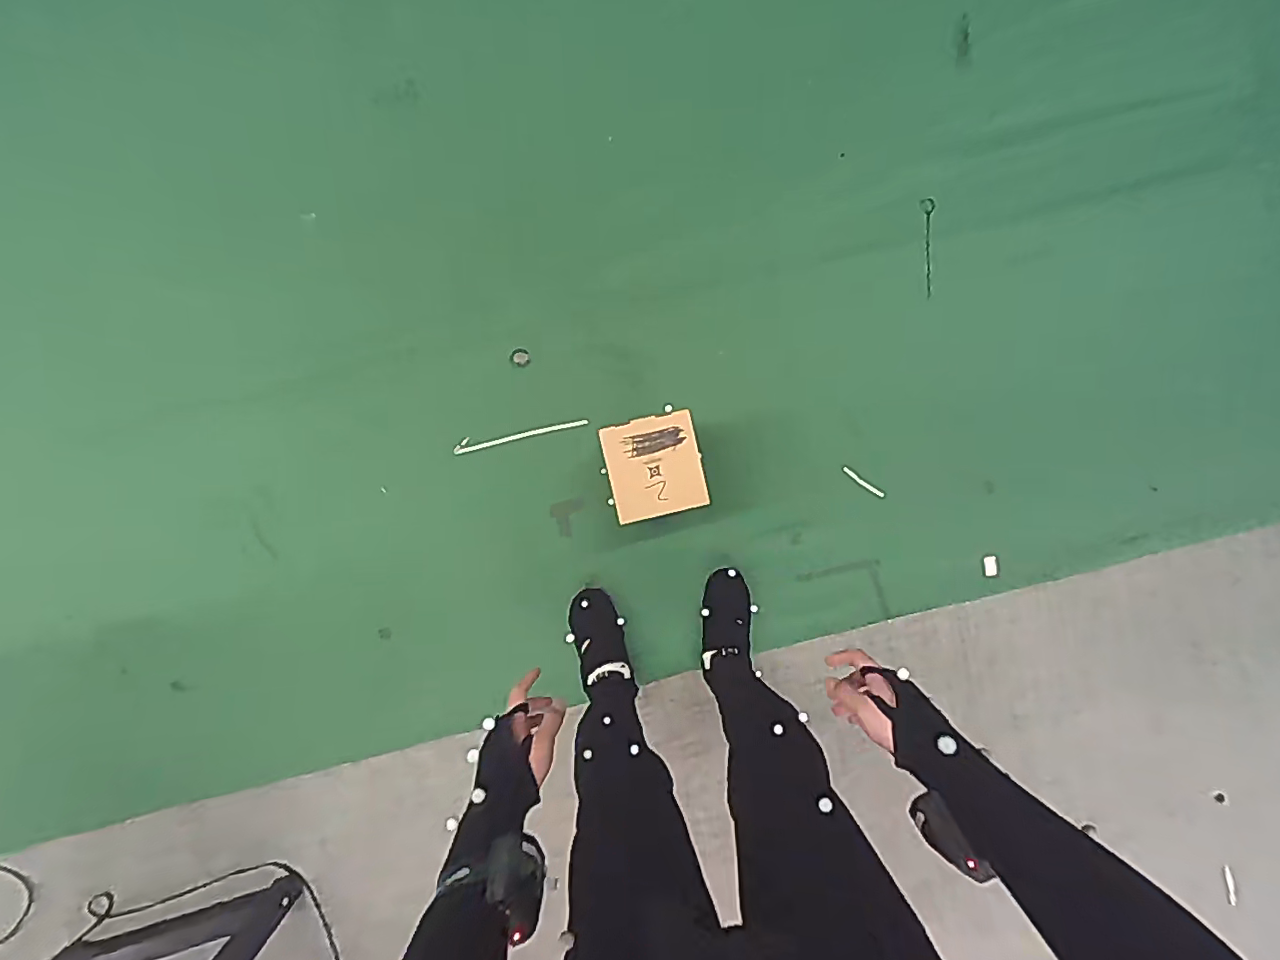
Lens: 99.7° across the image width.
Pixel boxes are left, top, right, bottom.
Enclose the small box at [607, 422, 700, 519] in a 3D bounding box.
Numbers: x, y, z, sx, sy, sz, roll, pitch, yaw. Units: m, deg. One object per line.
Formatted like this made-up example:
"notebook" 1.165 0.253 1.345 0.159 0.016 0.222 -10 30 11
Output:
"small box" 0.025 -0.021 1.192 0.168 0.176 0.179 -13 92 -1
